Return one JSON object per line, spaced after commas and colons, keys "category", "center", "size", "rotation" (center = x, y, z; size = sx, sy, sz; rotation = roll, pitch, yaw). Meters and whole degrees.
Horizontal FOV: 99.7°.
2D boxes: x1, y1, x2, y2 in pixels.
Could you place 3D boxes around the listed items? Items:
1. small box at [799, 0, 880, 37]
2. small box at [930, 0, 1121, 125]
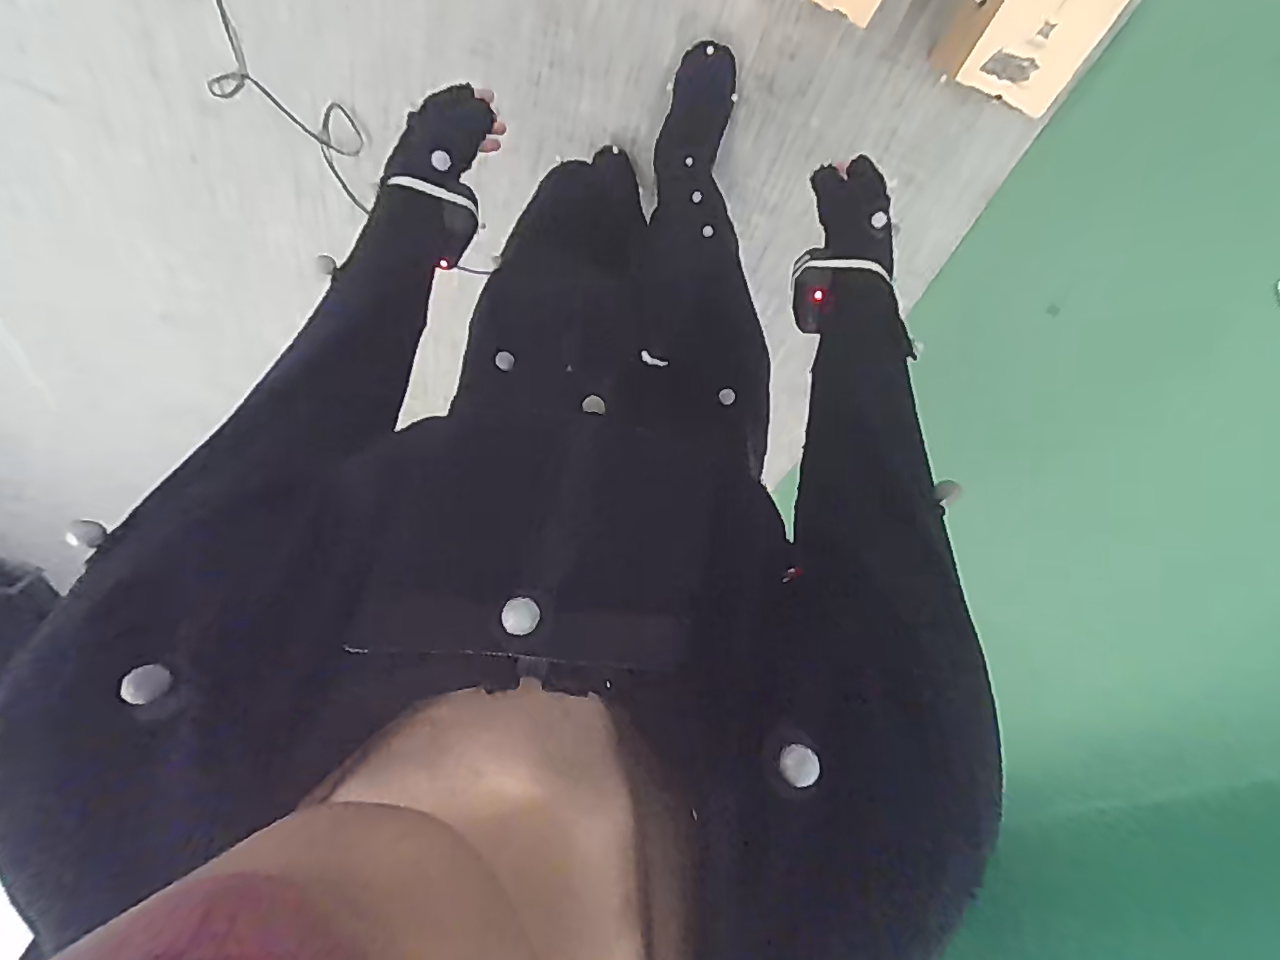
{"category": "small box", "center": [0.311, -0.831, 0.826], "size": [0.168, 0.176, 0.179], "rotation": [21, 135, -12]}
{"category": "small box", "center": [0.607, -0.726, 0.883], "size": [0.168, 0.176, 0.179], "rotation": [18, 135, -9]}
